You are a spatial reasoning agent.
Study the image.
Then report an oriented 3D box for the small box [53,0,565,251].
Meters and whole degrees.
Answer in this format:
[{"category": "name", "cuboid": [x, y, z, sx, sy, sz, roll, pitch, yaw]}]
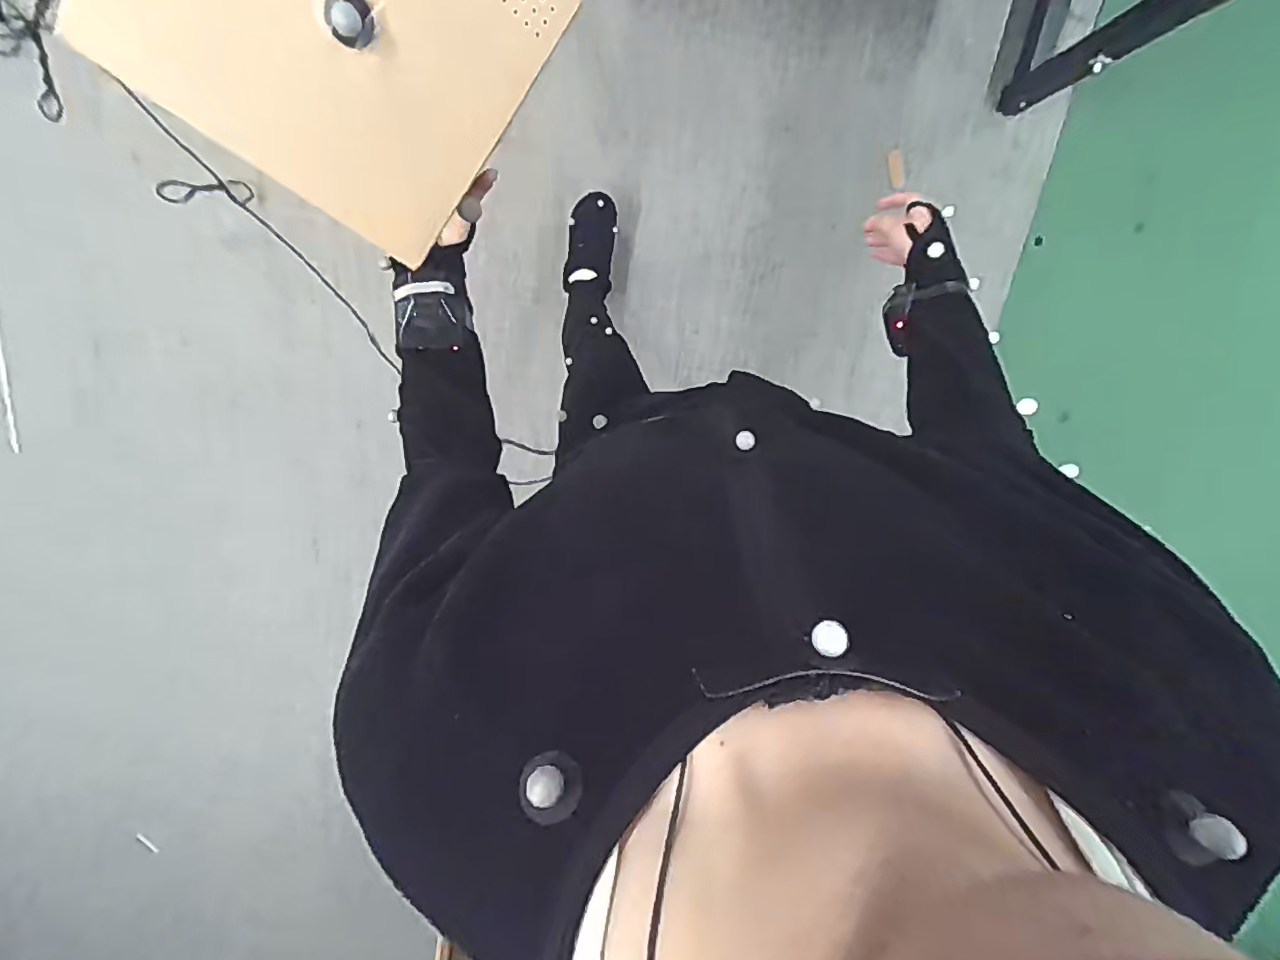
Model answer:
[{"category": "small box", "cuboid": [-0.158, -0.272, 0.306, 0.168, 0.179, 0.176, 31, 114, -34]}]
